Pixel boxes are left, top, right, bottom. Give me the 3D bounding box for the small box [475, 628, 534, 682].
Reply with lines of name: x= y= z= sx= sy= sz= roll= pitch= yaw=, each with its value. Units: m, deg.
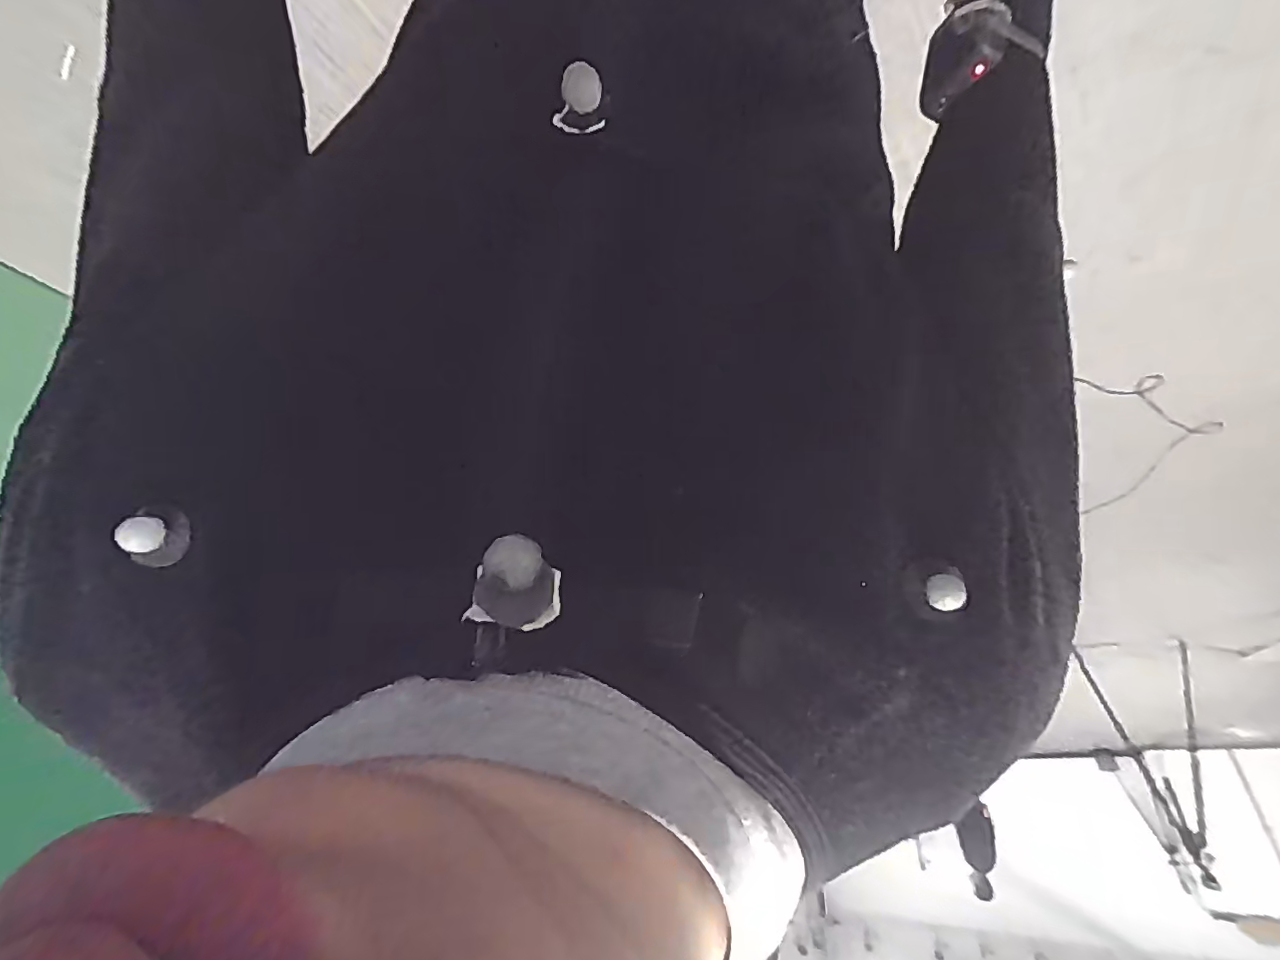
small box: x=-0.563 y=0.736 z=2.269 sx=0.179 sy=0.176 sz=0.168 roll=-25 pitch=137 yaw=36
